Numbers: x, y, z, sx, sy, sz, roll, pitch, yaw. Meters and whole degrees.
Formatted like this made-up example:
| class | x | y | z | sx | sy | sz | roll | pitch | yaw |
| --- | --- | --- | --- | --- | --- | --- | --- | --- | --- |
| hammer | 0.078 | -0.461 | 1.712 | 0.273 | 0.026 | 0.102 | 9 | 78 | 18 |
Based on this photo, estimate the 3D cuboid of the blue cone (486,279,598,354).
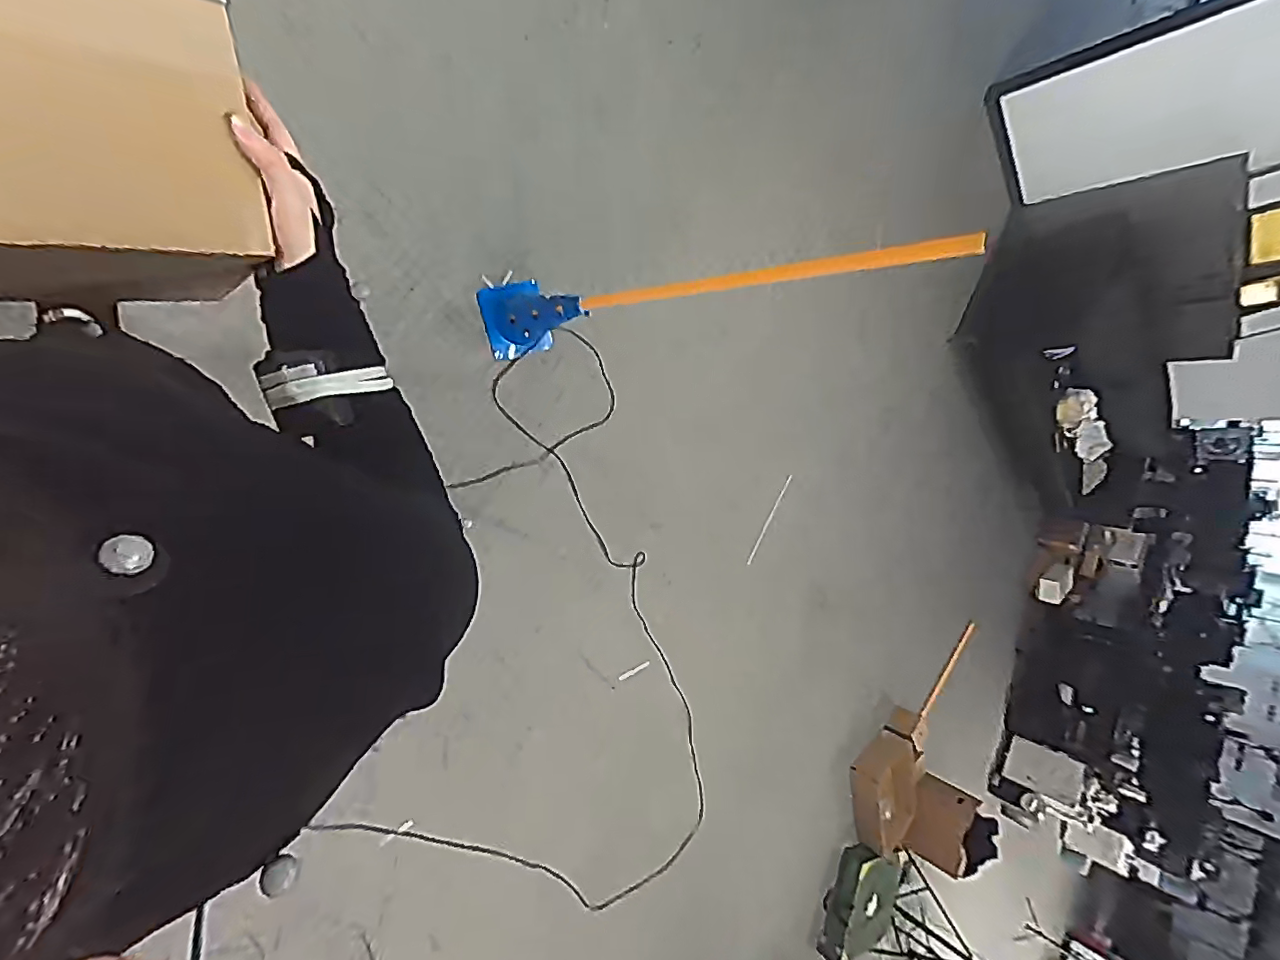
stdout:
| class | x | y | z | sx | sy | sz | roll | pitch | yaw |
| --- | --- | --- | --- | --- | --- | --- | --- | --- | --- |
| blue cone | -0.240 | -0.457 | 1.442 | 0.192 | 0.380 | 0.193 | -29 | 113 | -33 |
